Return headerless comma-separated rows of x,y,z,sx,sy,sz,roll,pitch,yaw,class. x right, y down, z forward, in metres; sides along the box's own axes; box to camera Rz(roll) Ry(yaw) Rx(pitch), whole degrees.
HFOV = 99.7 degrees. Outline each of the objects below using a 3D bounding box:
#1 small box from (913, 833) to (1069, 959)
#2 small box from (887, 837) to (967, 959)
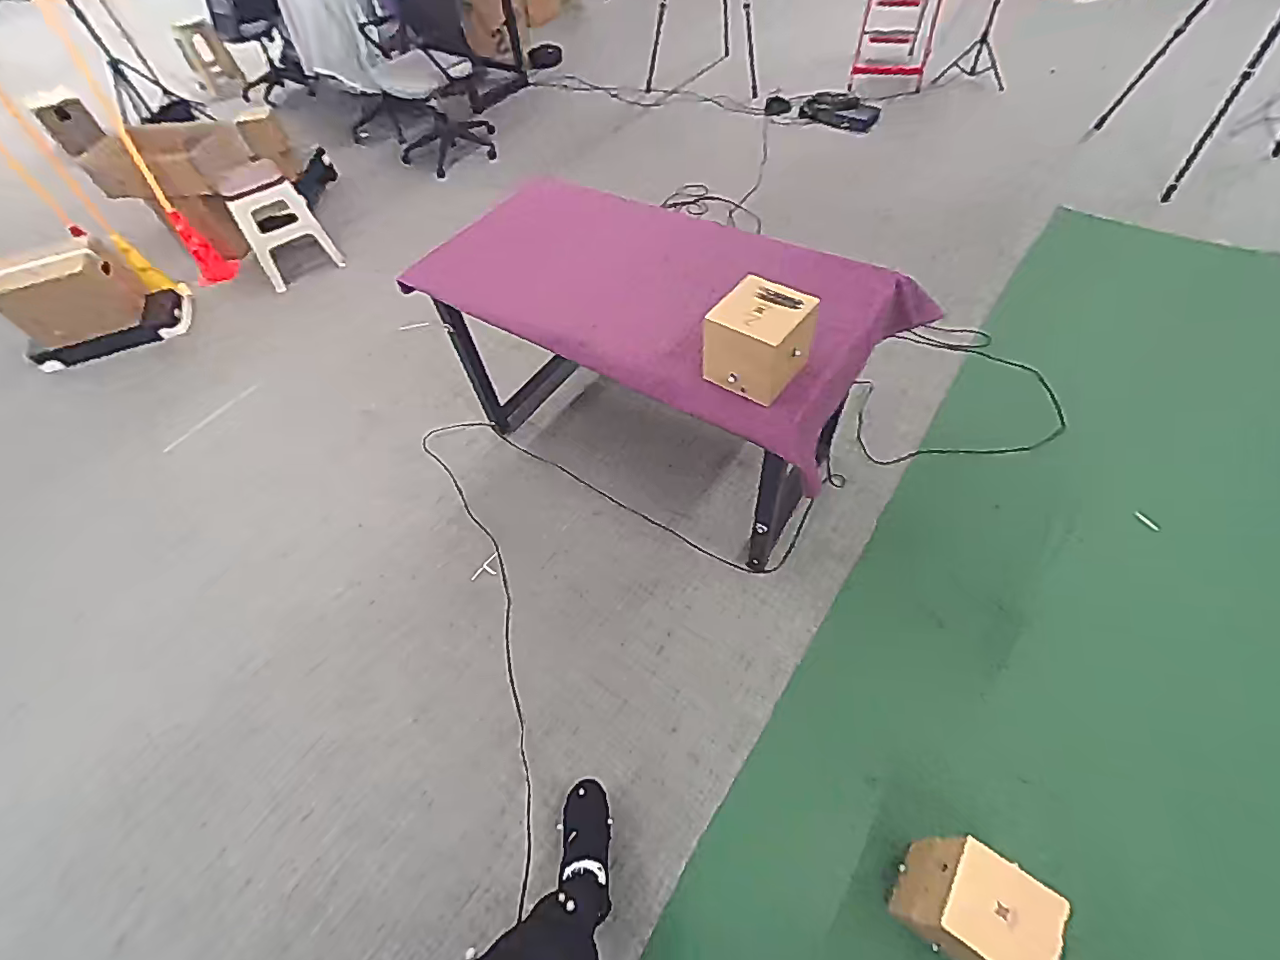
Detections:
0.648,0.807,1.018,0.179,0.176,0.168,29,62,22,small box
0.662,0.898,1.151,0.179,0.176,0.168,29,62,23,small box
